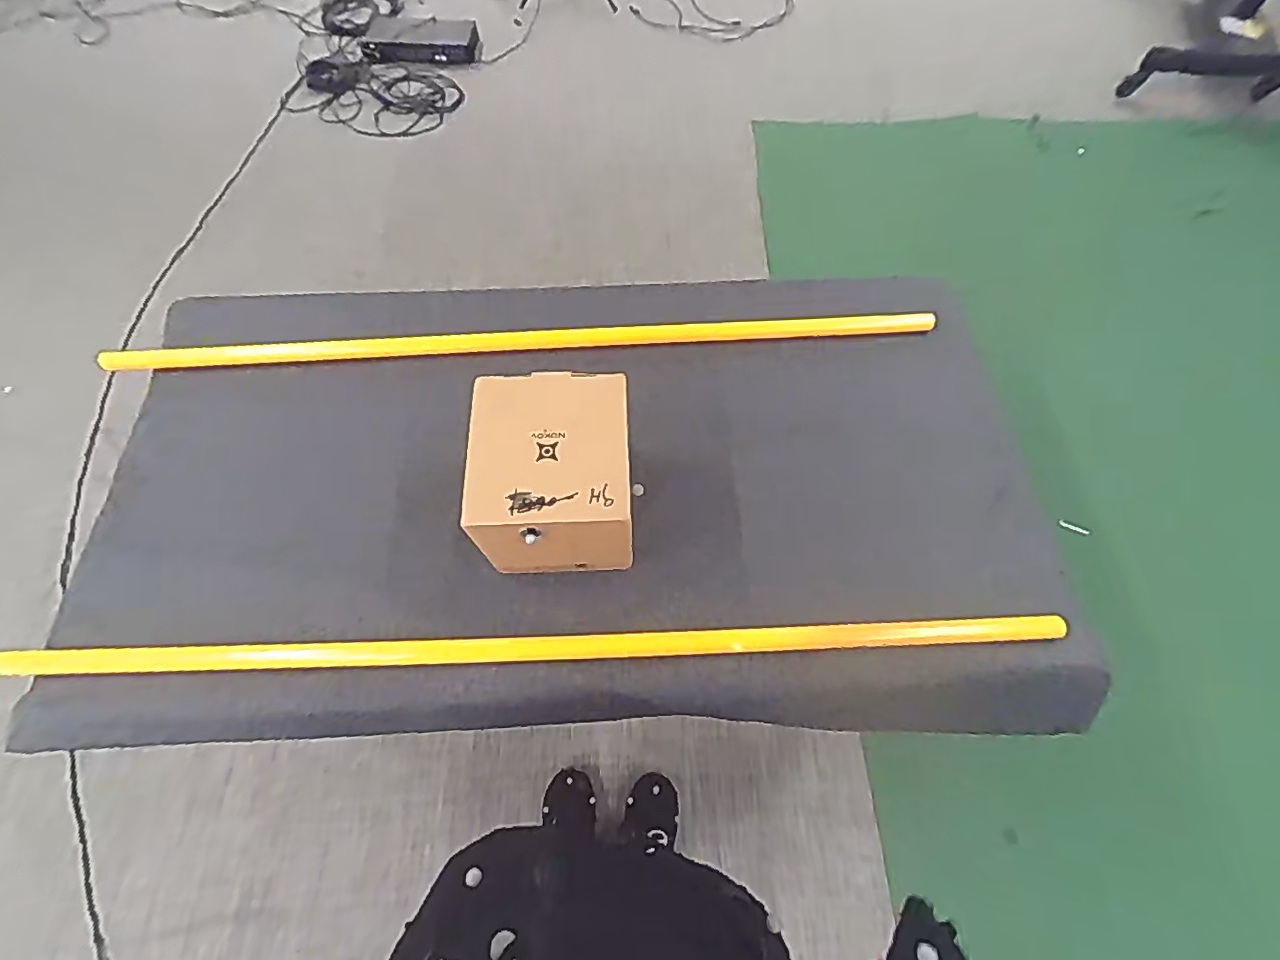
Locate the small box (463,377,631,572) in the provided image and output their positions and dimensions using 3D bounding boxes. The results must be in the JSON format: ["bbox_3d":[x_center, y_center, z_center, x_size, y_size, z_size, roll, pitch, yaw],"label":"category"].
[{"bbox_3d":[-0.095,-0.001,0.637,0.168,0.176,0.179,-2,64,-1],"label":"small box"}]
